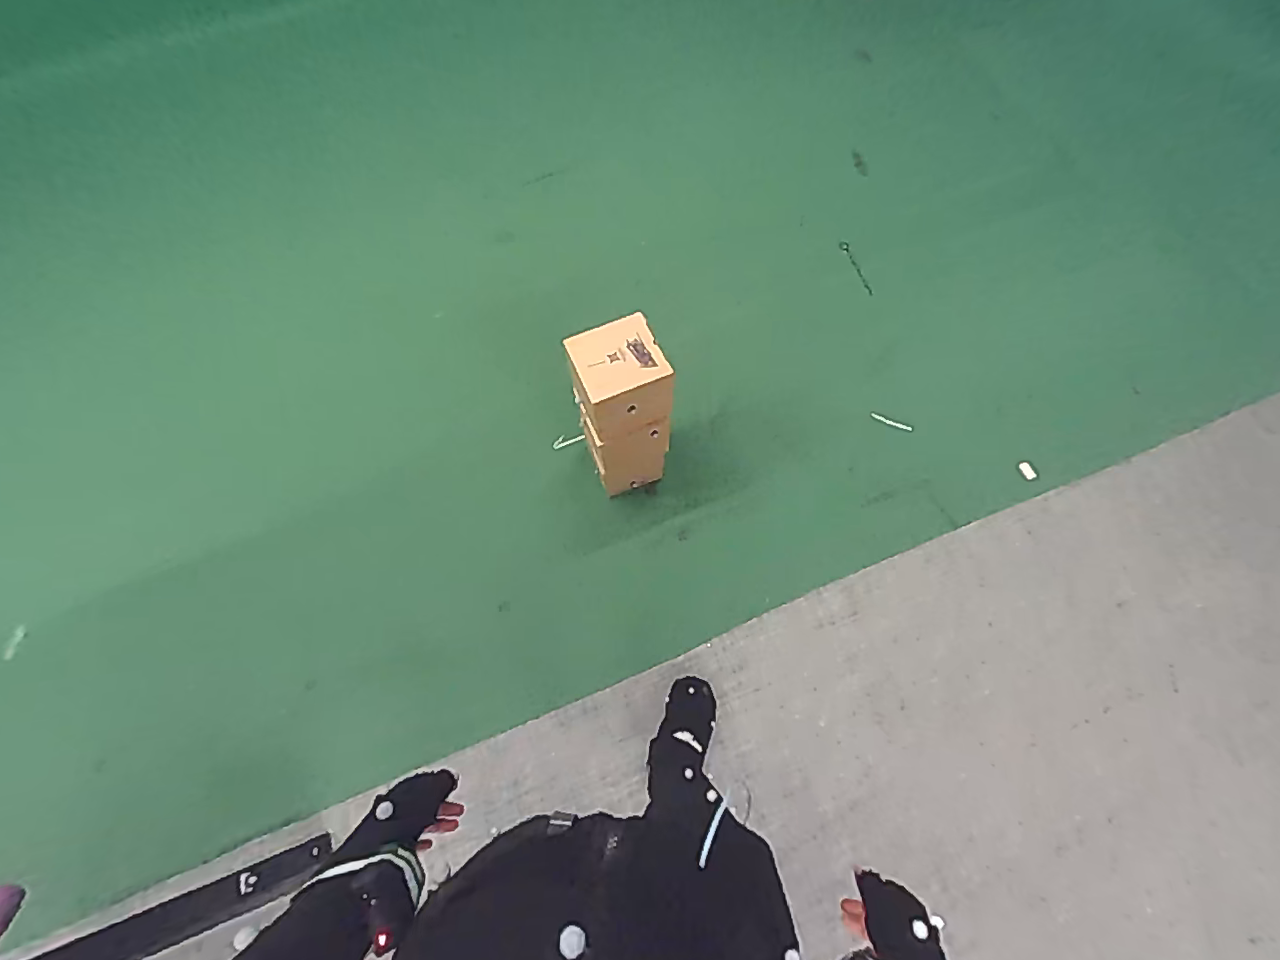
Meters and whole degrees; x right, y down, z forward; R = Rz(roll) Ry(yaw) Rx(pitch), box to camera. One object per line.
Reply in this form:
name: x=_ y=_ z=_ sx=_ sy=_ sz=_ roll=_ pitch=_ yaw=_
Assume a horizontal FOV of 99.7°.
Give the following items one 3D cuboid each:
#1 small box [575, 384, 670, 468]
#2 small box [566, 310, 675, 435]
small box: x=-0.038 y=-0.151 z=1.299 sx=0.179 sy=0.176 sz=0.168 roll=-21 pitch=70 yaw=-7
small box: x=-0.040 y=-0.223 z=1.150 sx=0.179 sy=0.176 sz=0.168 roll=-23 pitch=69 yaw=-7
